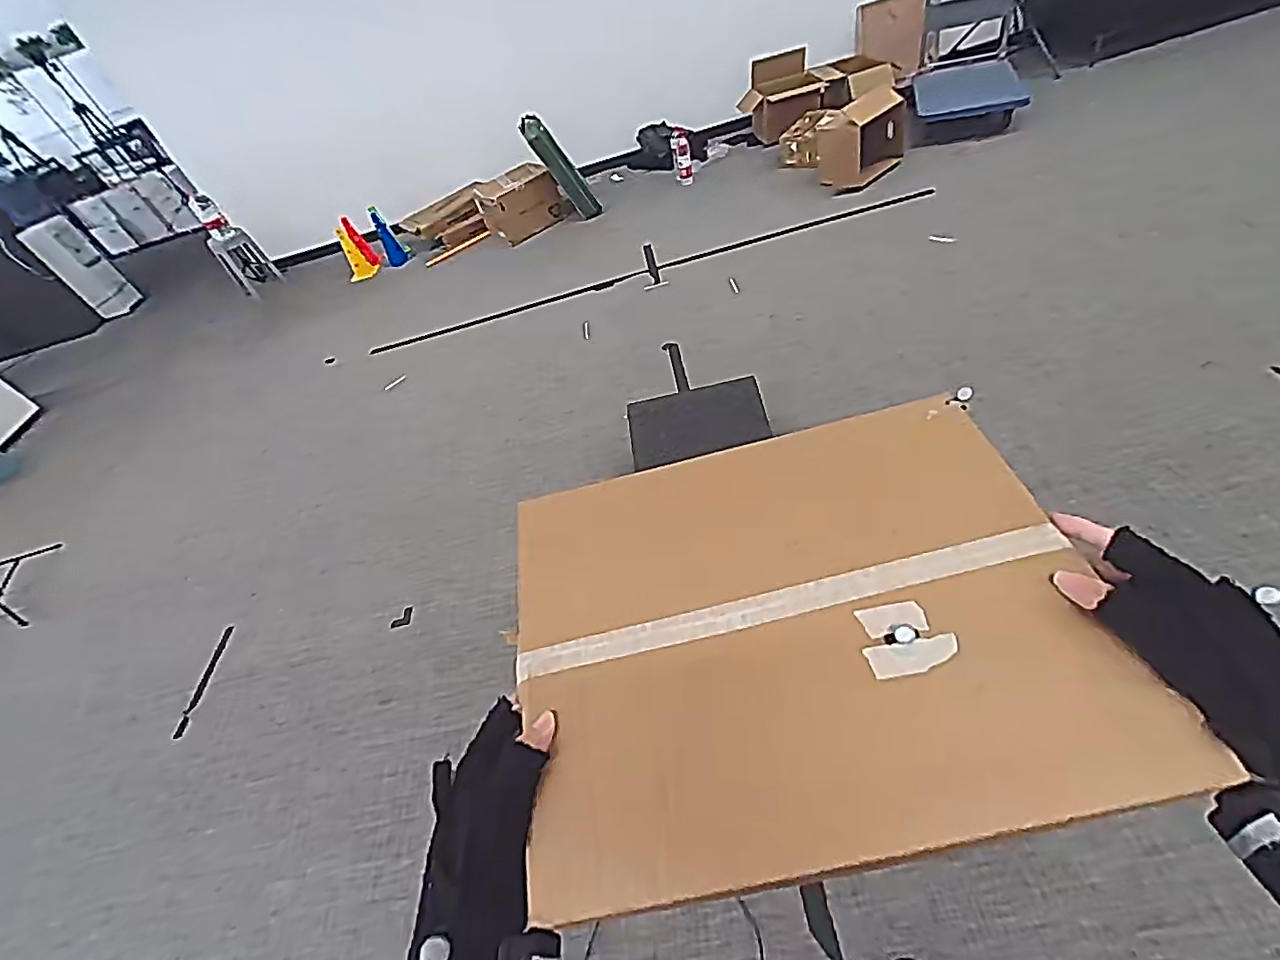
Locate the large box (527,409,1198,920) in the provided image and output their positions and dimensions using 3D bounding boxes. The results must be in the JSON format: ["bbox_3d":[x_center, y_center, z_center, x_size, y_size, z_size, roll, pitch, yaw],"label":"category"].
[{"bbox_3d":[0.136,0.189,0.528,0.408,0.320,0.320,-15,52,3],"label":"large box"}]
